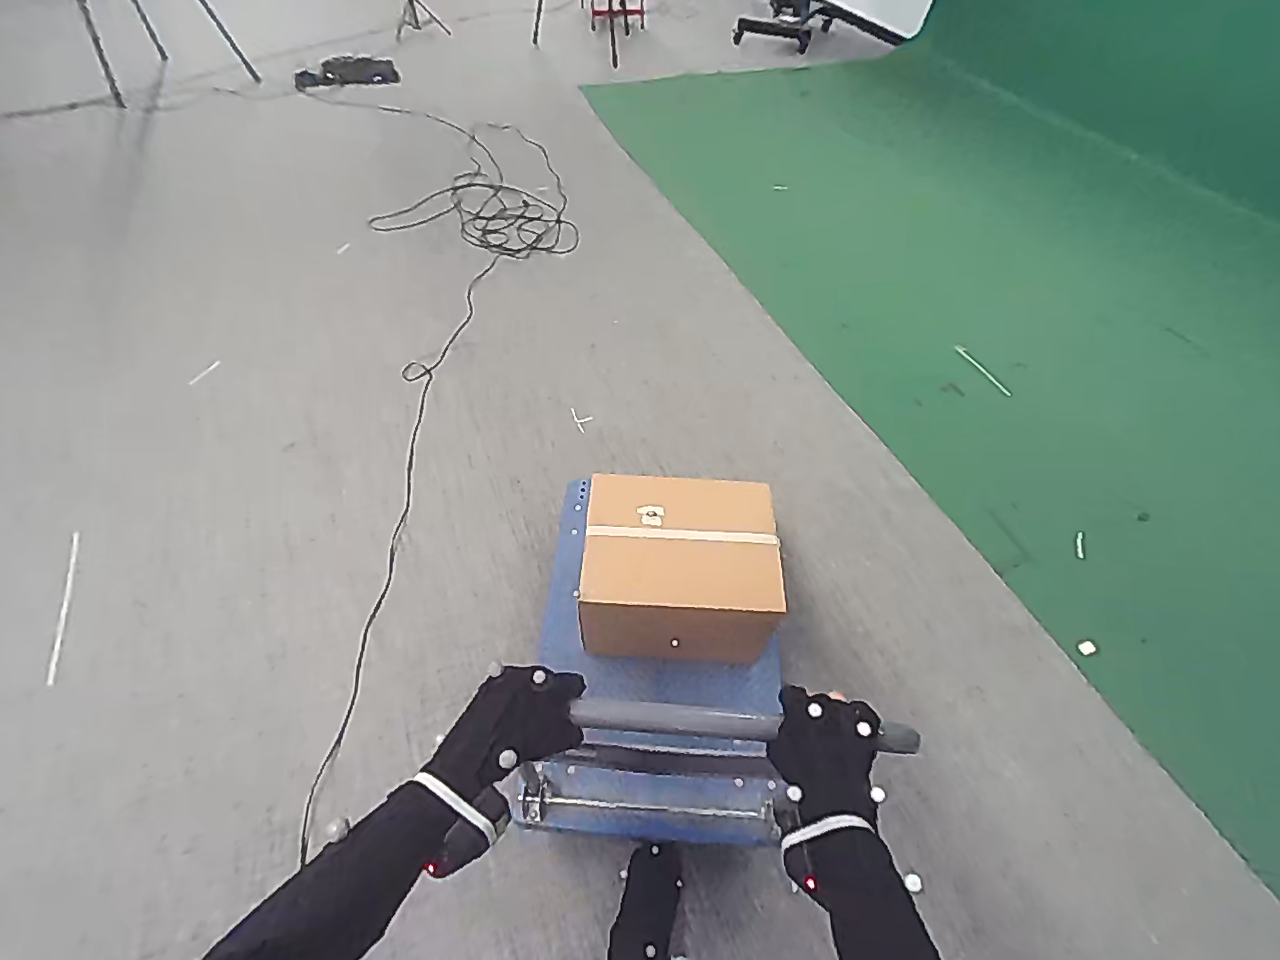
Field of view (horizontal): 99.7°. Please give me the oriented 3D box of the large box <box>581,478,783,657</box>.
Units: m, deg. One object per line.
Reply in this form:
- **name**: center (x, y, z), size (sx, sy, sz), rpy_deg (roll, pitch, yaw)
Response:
- **large box**: center (0.084, 0.213, 1.262), size (0.408, 0.320, 0.320), rpy_deg (3, 53, 0)
